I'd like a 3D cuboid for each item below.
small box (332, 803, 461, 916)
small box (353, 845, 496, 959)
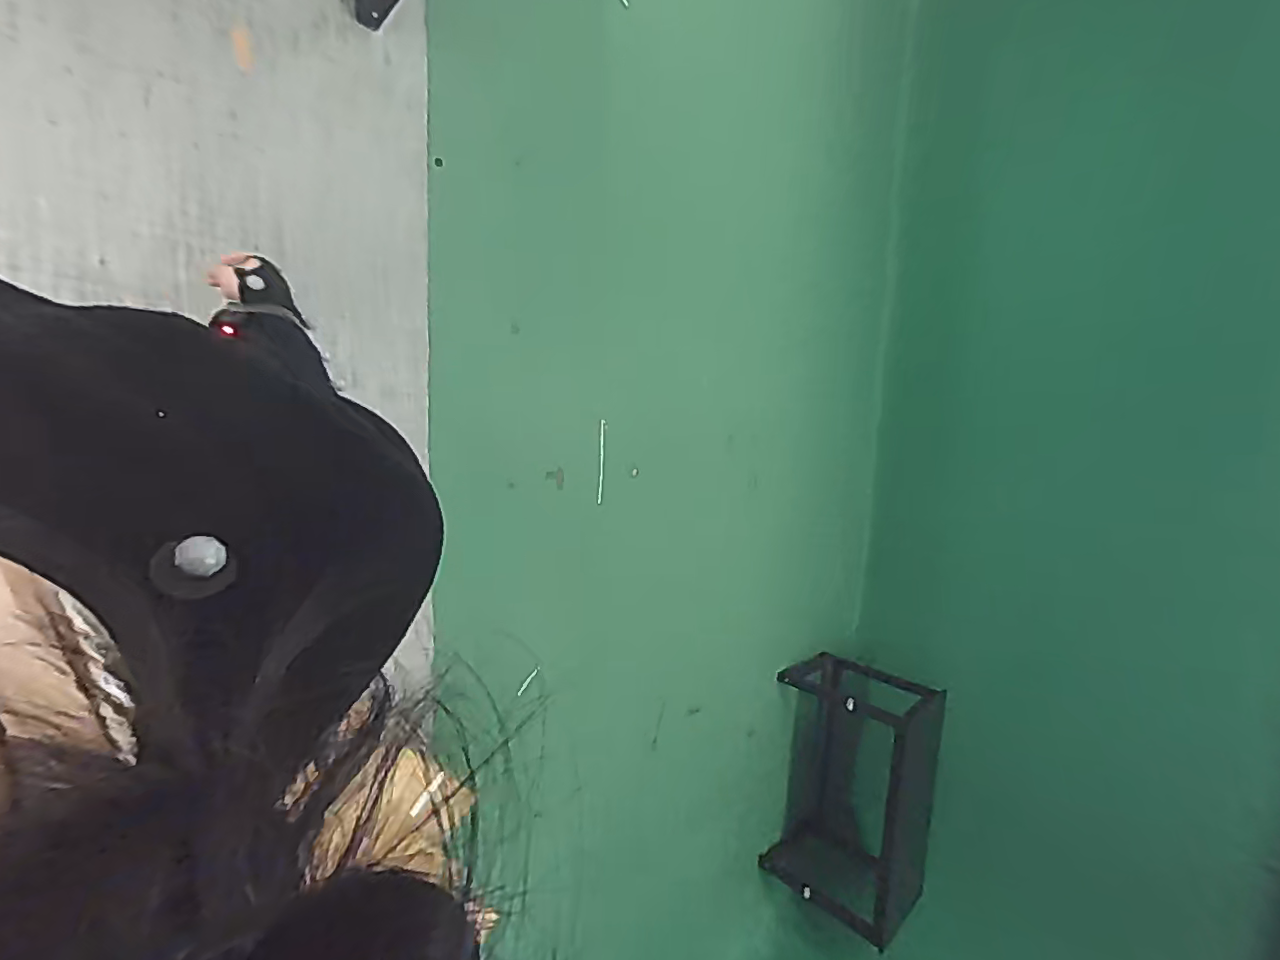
[{"bbox_3d":[-0.544,0.868,1.210,0.168,0.176,0.179,-48,126,-30],"label":"small box"},{"bbox_3d":[-0.433,0.884,1.090,0.168,0.176,0.179,-51,128,-29],"label":"small box"}]
